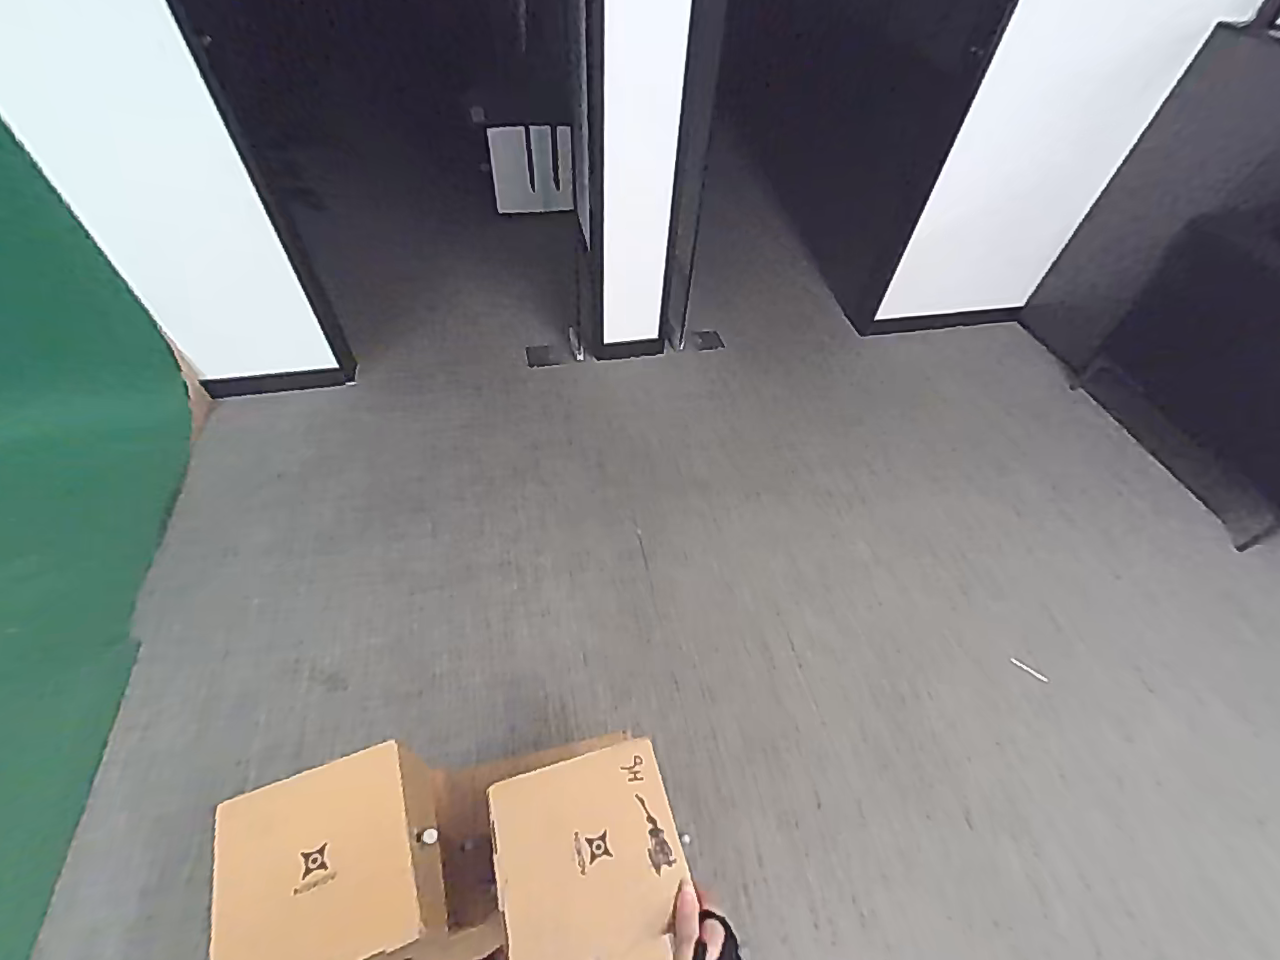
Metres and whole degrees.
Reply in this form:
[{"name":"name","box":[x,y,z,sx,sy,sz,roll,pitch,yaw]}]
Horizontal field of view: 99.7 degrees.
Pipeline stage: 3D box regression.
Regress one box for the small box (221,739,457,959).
[{"name":"small box","box":[-0.301,0.407,0.566,0.168,0.176,0.179,-15,55,-17]}]
